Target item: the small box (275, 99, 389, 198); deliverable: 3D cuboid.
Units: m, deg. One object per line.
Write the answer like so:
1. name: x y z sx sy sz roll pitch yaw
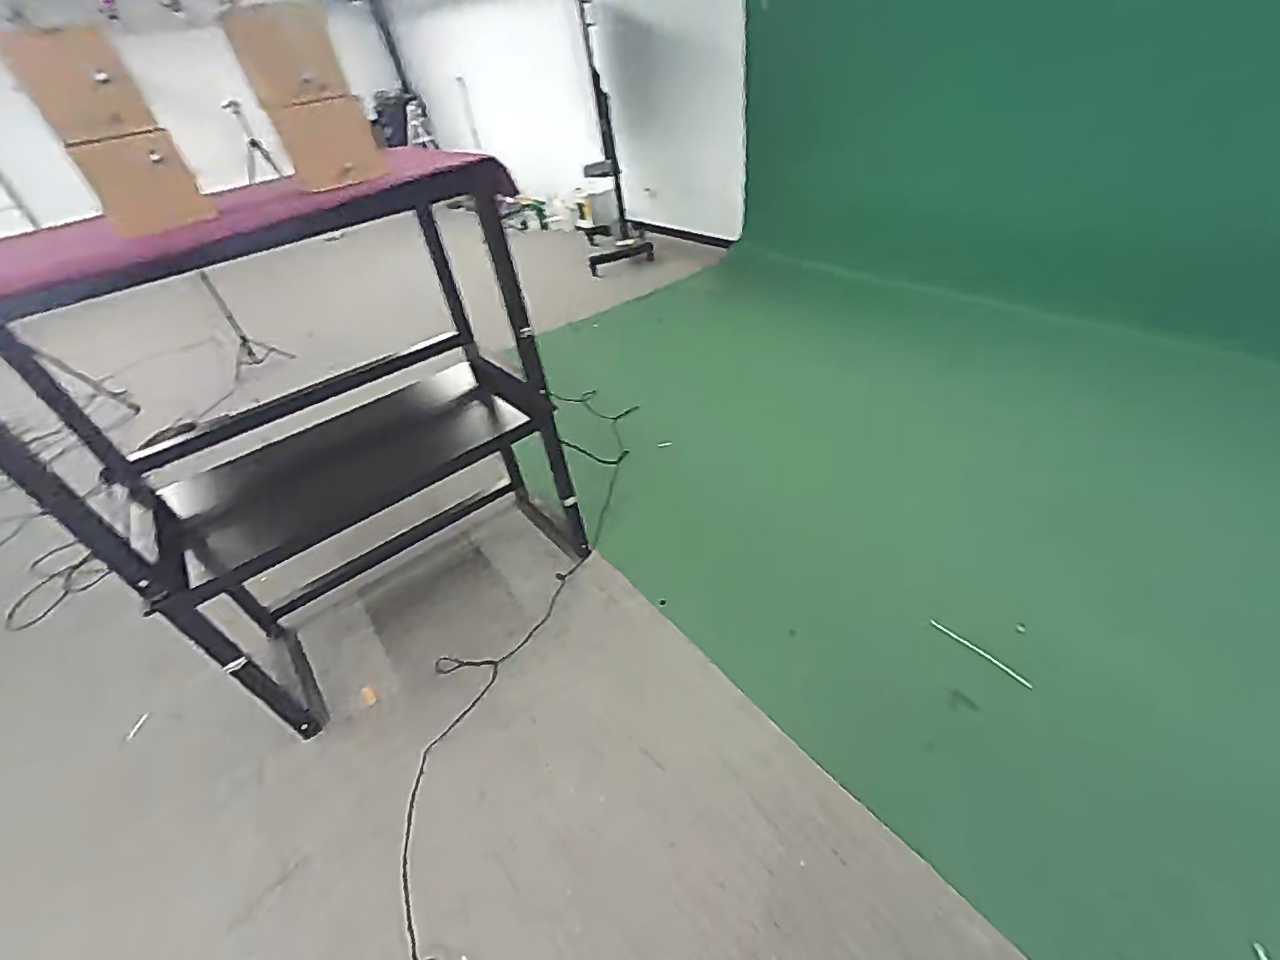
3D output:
1. small box: -0.727 -0.793 1.294 0.179 0.176 0.168 -32 42 -25

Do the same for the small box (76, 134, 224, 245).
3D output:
1. small box: -1.016 -0.615 1.139 0.179 0.176 0.168 -32 43 -24

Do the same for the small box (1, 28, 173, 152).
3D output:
1. small box: -1.042 -0.740 1.038 0.168 0.176 0.179 -30 42 -24
